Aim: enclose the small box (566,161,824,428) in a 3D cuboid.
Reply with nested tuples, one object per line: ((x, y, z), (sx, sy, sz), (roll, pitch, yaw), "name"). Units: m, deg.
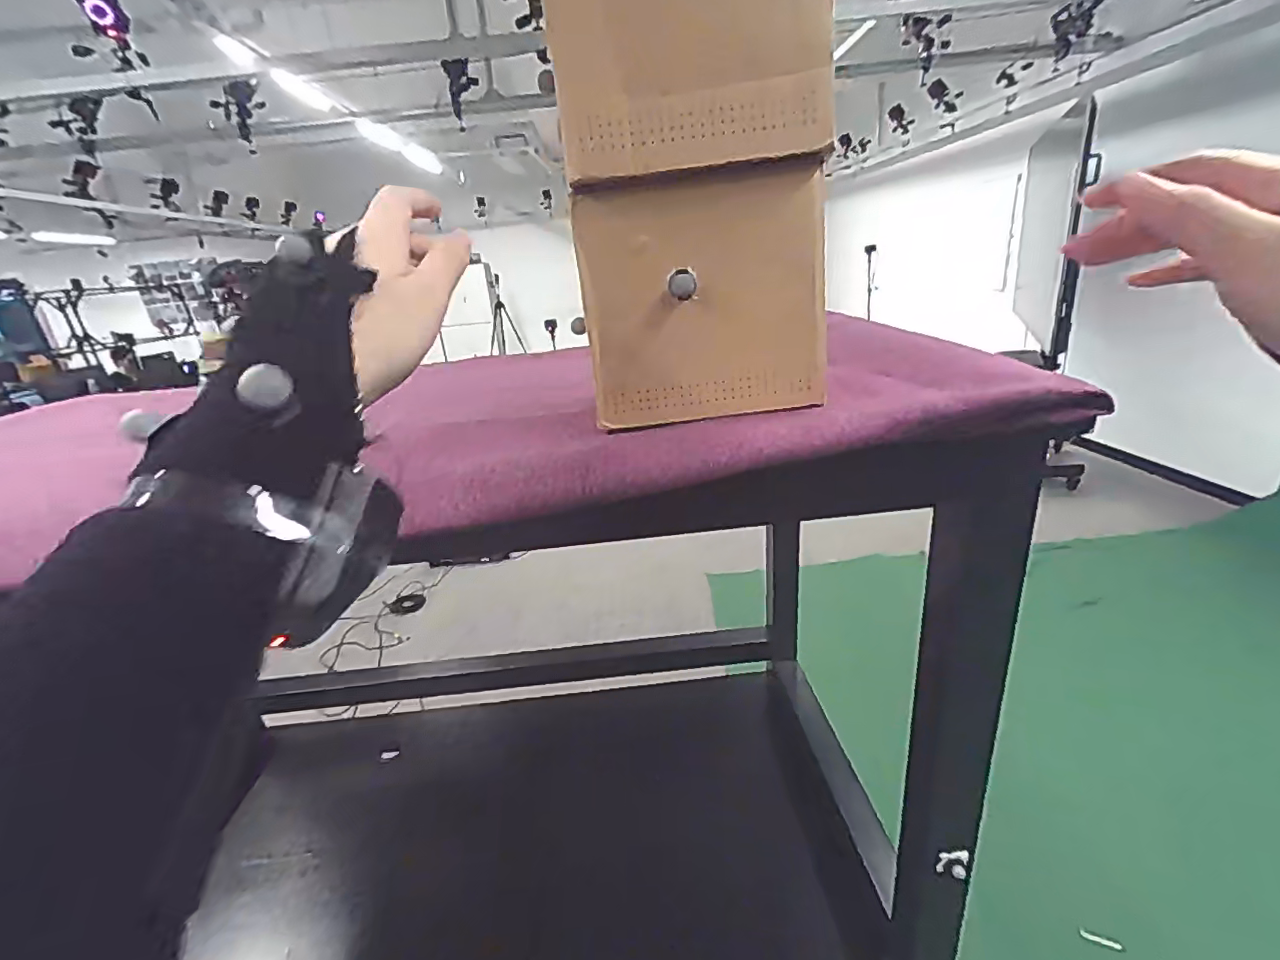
((0.044, -0.147, 0.459), (0.179, 0.176, 0.168), (-7, 20, 0), "small box")

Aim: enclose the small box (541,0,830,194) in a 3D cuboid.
((0.027, -0.296, 0.393), (0.179, 0.176, 0.168), (-7, 19, 0), "small box")
